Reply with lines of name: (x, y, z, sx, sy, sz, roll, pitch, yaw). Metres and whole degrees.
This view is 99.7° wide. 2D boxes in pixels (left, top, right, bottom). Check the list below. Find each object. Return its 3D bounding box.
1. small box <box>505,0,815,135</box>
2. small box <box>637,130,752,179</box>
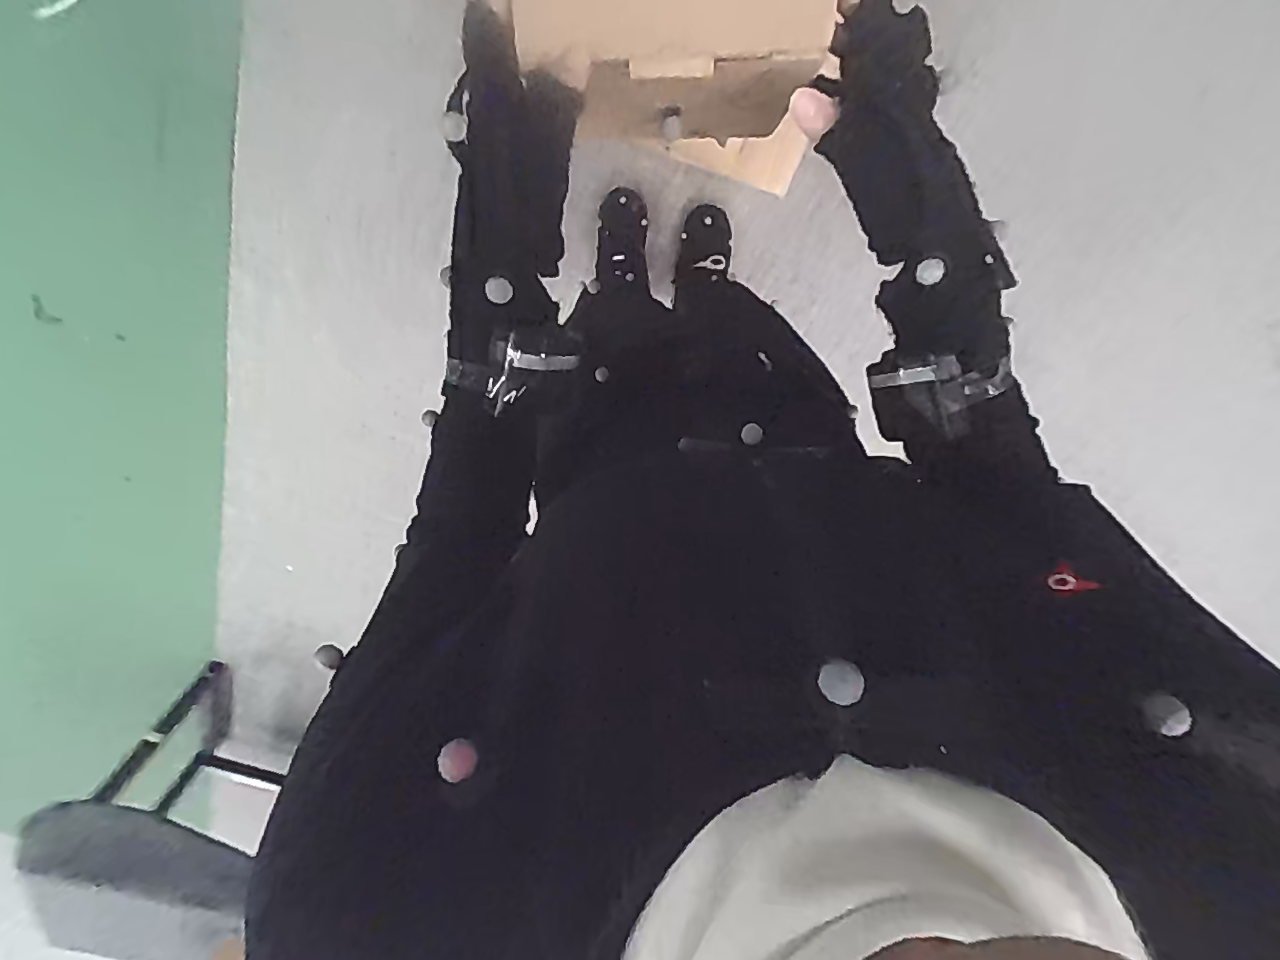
small box: (0.015, -0.330, 0.336, 0.168, 0.176, 0.179, 0, 111, 4)
small box: (0.086, -0.563, 0.779, 0.179, 0.176, 0.168, 22, 121, -8)
